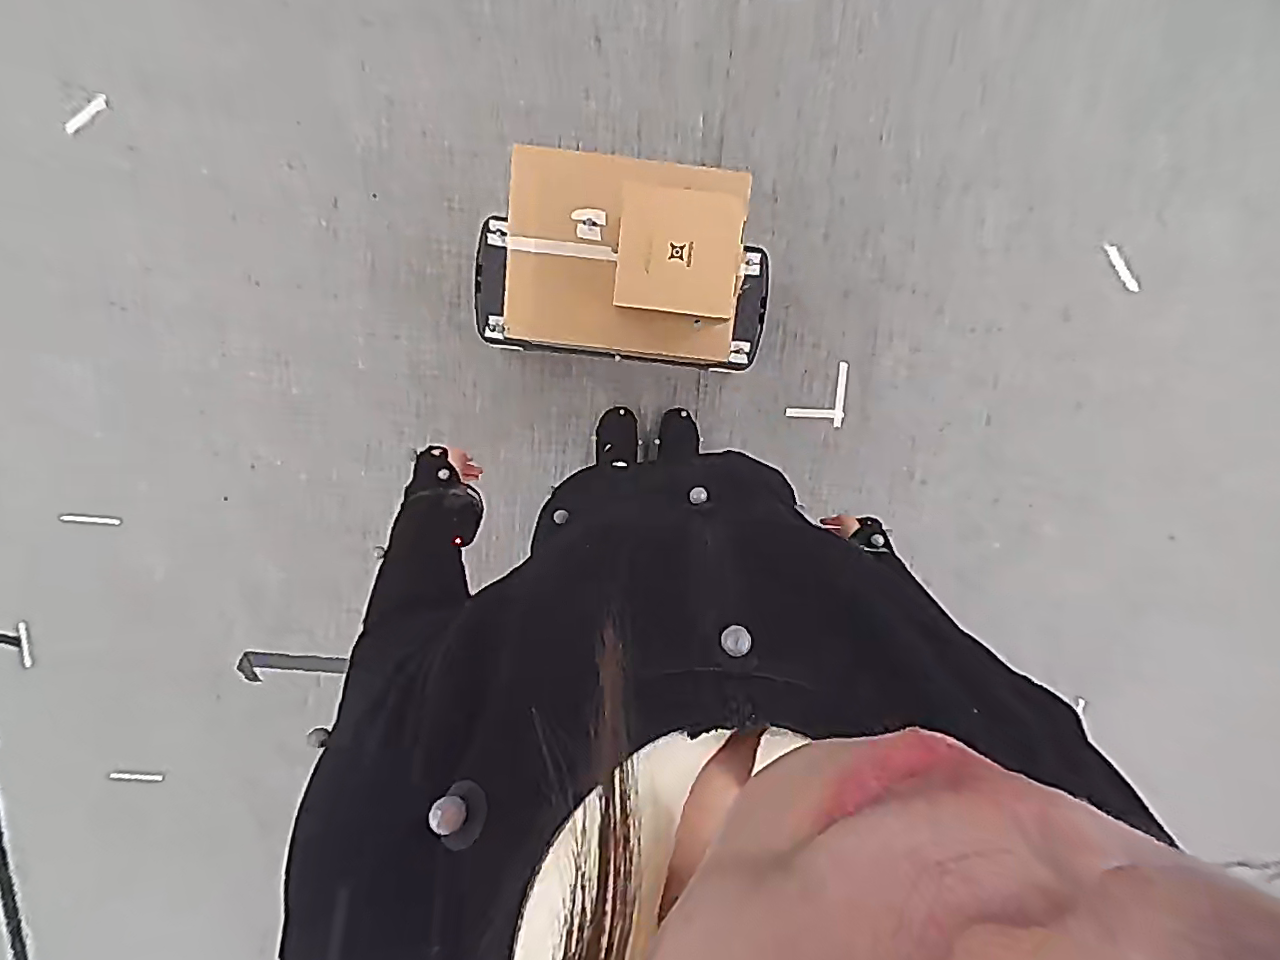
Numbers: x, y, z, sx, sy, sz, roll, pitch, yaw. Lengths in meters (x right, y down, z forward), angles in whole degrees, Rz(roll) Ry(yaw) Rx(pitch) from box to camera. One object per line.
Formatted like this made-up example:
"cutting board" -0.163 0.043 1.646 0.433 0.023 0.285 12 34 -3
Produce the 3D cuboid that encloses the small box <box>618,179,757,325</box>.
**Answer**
"small box" 0.064 -0.335 0.828 0.179 0.176 0.168 7 102 -2

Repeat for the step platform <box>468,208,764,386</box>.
"step platform" -0.054 -0.426 1.301 0.684 0.204 0.286 11 101 -2

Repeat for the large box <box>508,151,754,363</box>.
"large box" -0.018 -0.403 1.063 0.408 0.320 0.320 6 100 -1
